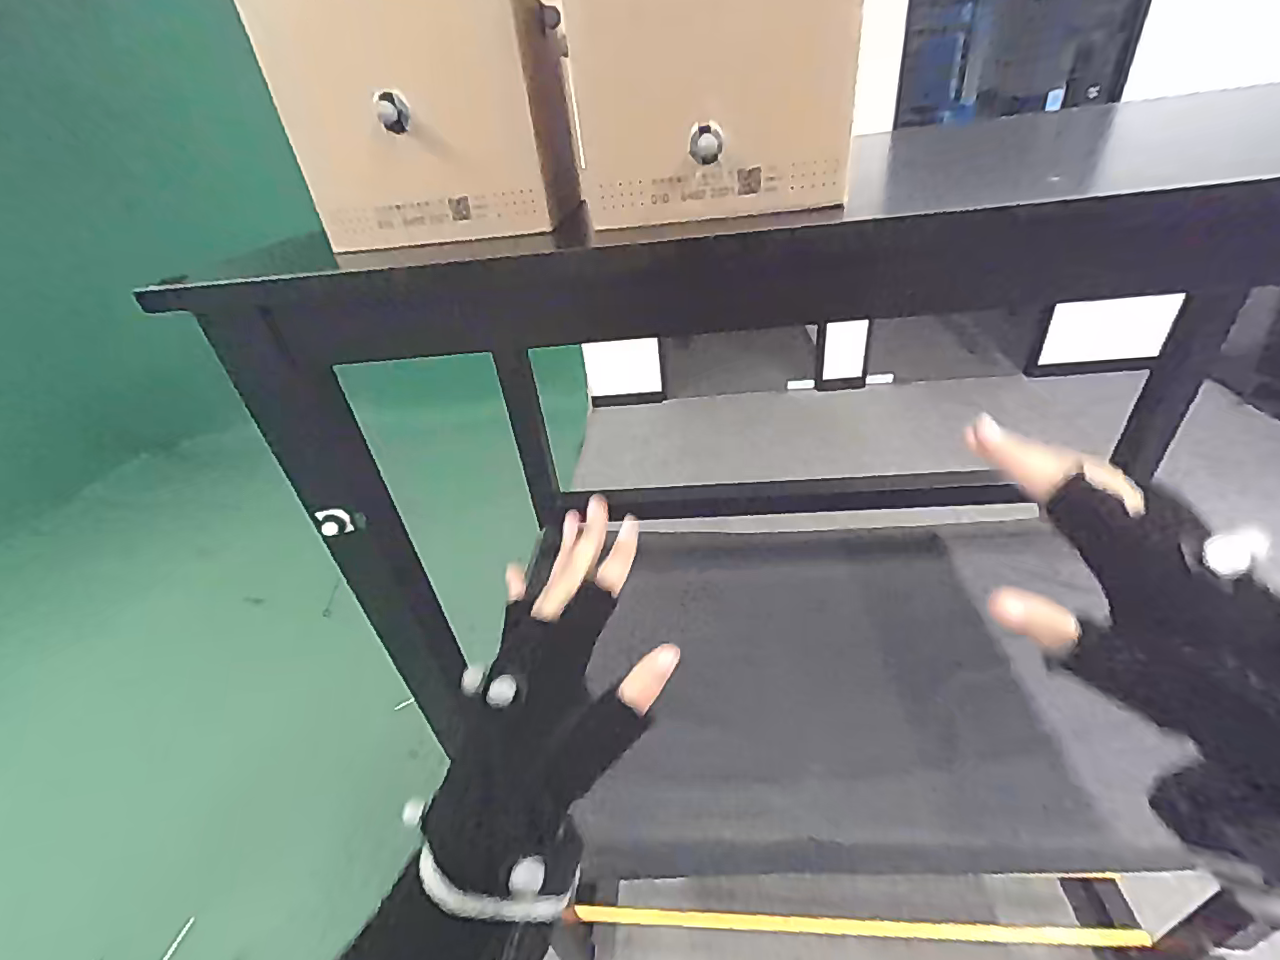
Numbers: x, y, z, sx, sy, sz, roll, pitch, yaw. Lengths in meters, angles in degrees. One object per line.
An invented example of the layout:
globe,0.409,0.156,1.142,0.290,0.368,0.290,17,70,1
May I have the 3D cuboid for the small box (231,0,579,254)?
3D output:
small box,-0.149,-0.279,0.419,0.168,0.176,0.179,-2,33,6
